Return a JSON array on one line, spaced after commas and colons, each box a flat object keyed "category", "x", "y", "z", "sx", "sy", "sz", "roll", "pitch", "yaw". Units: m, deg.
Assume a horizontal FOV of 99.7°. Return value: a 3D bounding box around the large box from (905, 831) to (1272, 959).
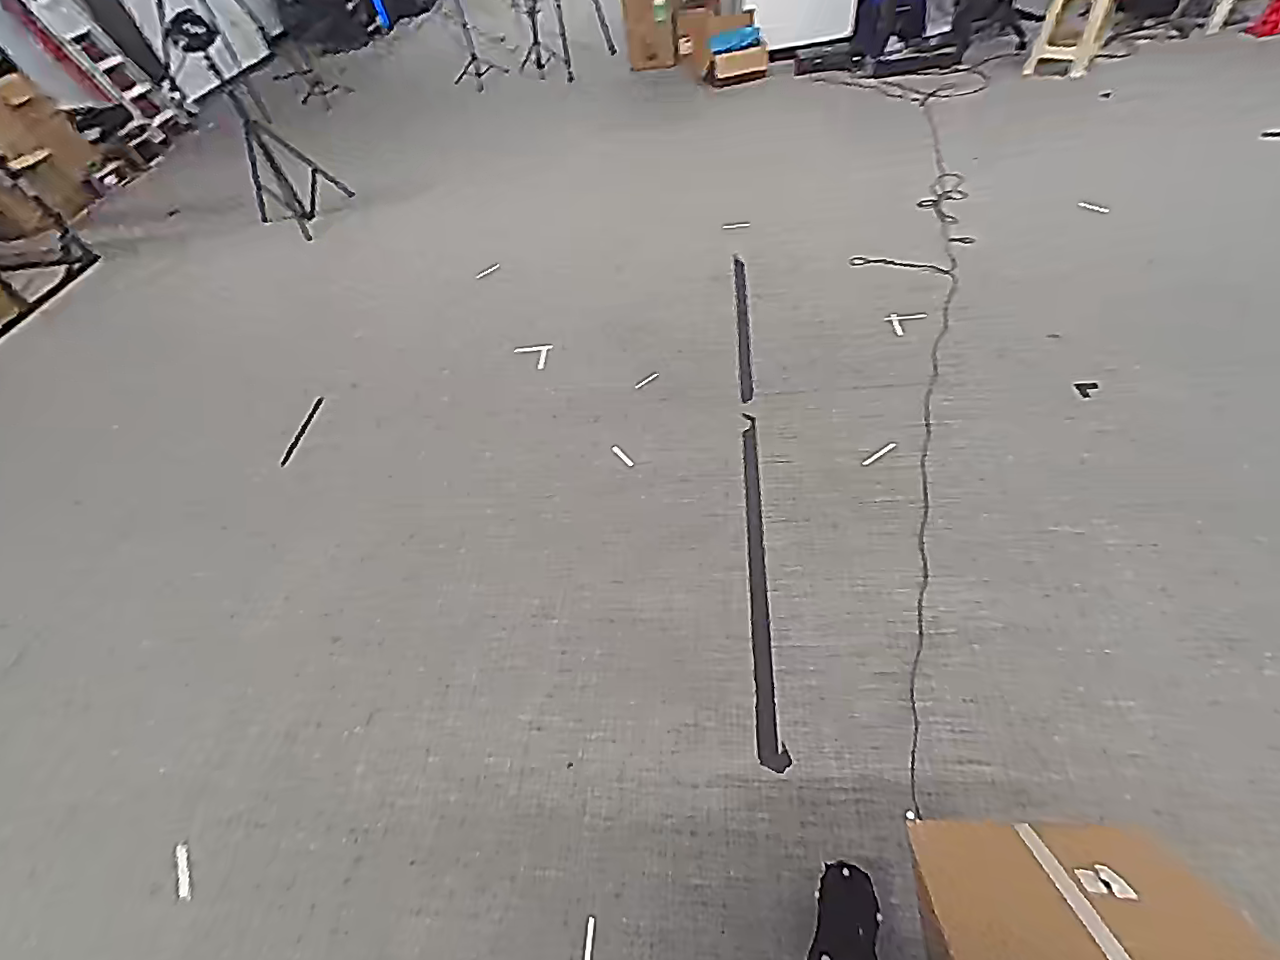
[{"category": "large box", "x": 0.520, "y": 0.657, "z": 0.590, "sx": 0.320, "sy": 0.408, "sz": 0.320, "roll": -6, "pitch": 83, "yaw": 15}]
